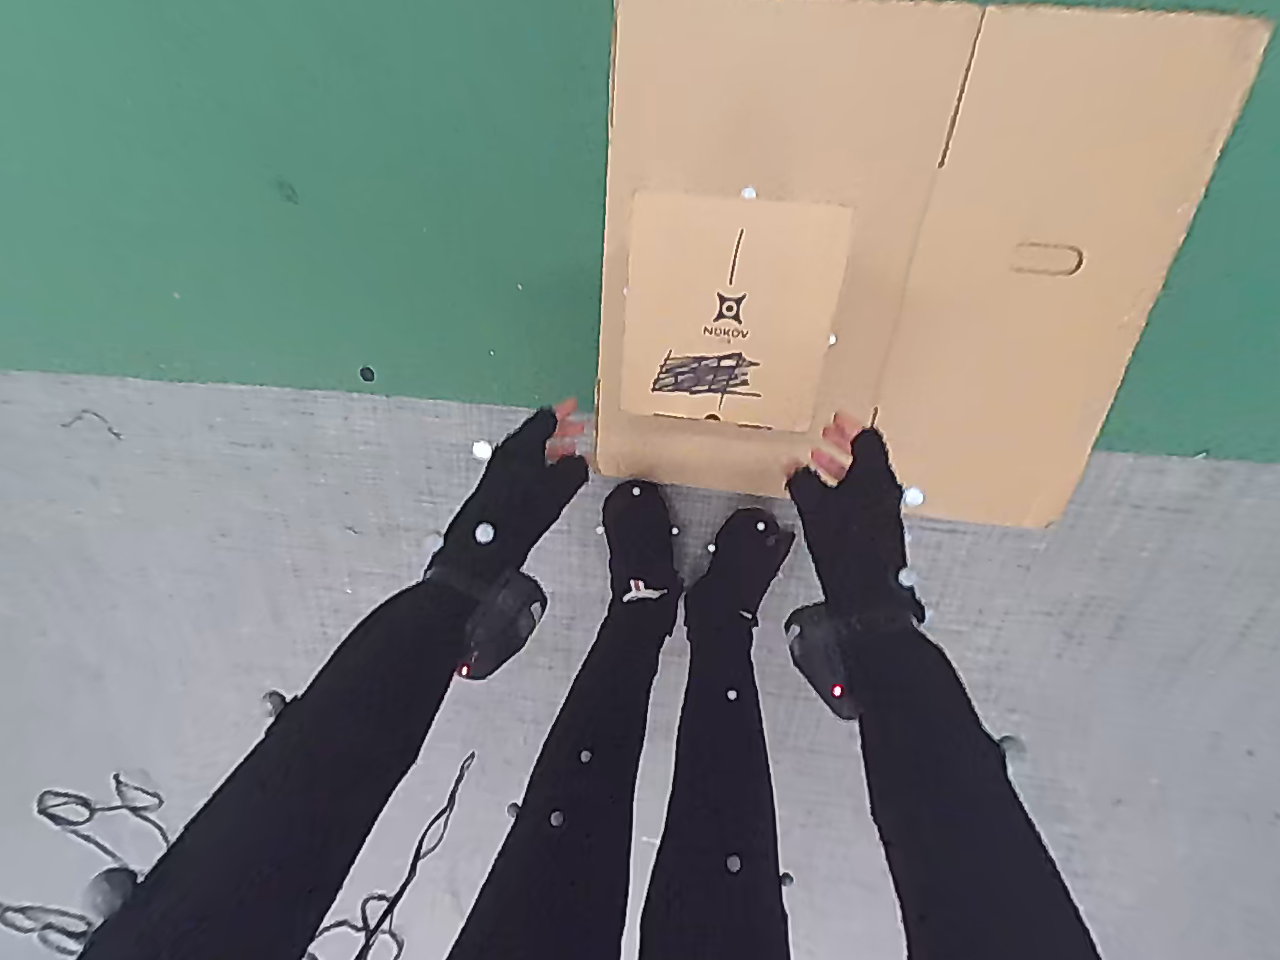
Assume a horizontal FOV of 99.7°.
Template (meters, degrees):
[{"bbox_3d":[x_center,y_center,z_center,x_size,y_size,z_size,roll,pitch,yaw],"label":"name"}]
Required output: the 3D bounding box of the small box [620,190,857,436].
[{"bbox_3d":[0.082,-0.157,0.504,0.168,0.176,0.179,8,113,6],"label":"small box"}]
